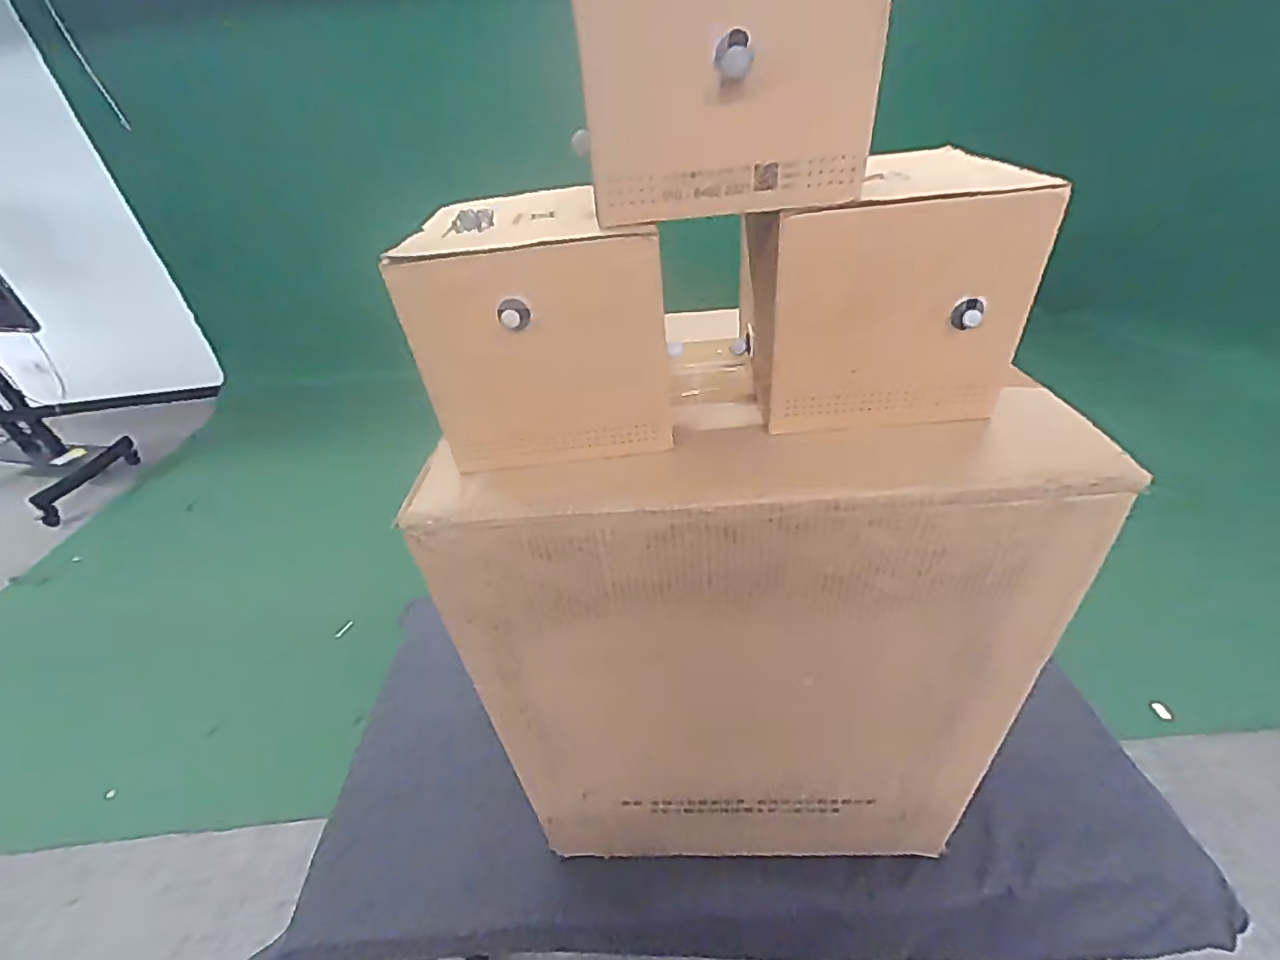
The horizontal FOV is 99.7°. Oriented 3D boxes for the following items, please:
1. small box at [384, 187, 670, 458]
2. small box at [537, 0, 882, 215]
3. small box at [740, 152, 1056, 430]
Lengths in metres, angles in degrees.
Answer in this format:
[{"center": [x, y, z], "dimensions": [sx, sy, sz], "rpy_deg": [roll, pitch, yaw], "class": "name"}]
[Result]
[{"center": [-0.070, -0.131, 0.454], "dimensions": [0.179, 0.176, 0.168], "rpy_deg": [-4, 40, 6], "class": "small box"}, {"center": [0.046, -0.292, 0.365], "dimensions": [0.179, 0.176, 0.168], "rpy_deg": [-25, 41, -21], "class": "small box"}, {"center": [0.180, -0.155, 0.448], "dimensions": [0.179, 0.176, 0.168], "rpy_deg": [-3, 38, 5], "class": "small box"}]
